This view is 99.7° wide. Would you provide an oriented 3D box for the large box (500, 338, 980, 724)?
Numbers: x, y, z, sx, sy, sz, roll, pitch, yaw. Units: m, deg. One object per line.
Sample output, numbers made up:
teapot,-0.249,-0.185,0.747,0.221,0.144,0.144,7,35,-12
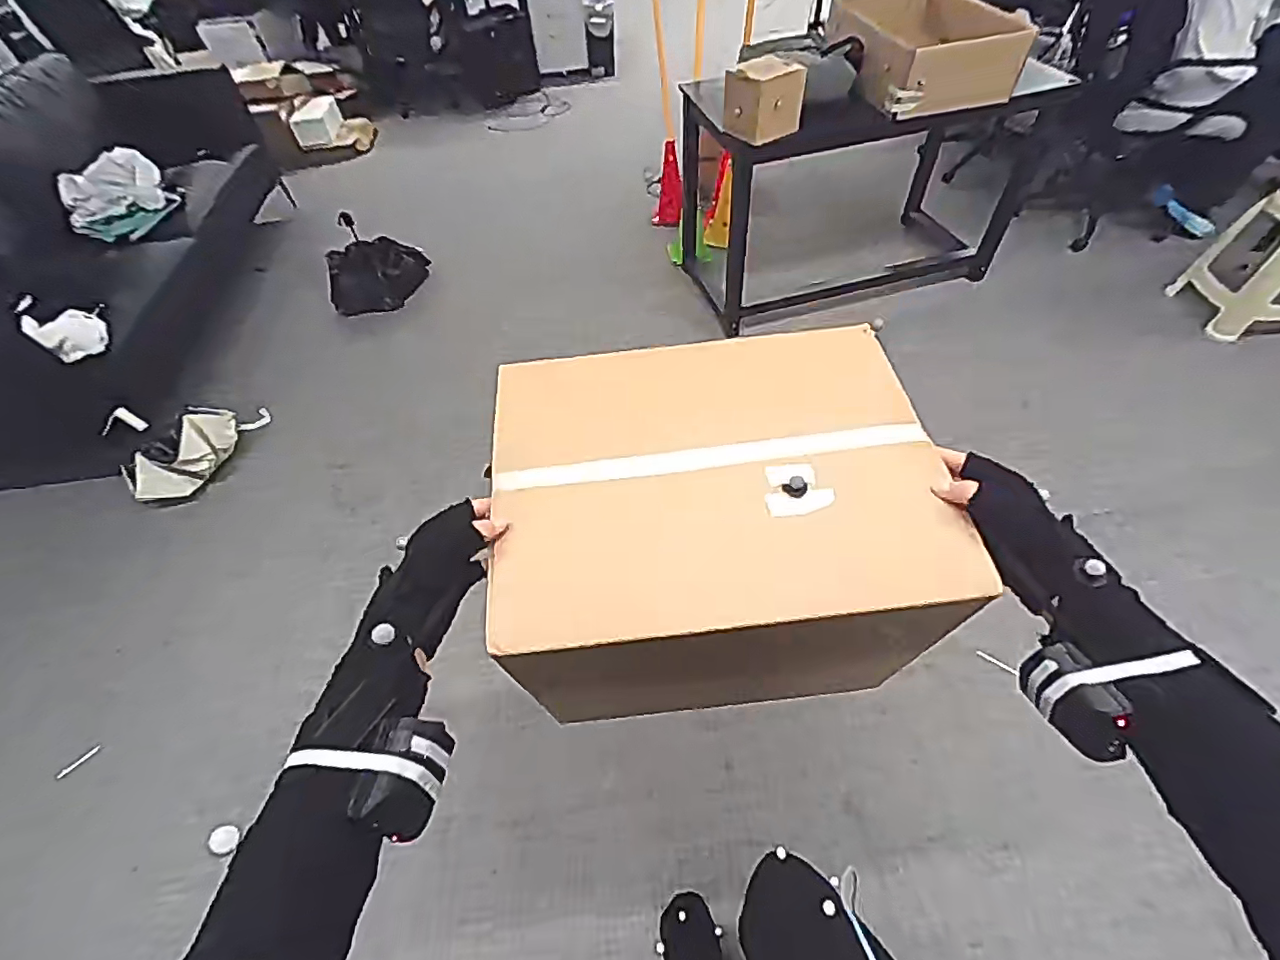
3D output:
large box,0.072,0.073,0.639,0.408,0.320,0.320,-7,57,-1
